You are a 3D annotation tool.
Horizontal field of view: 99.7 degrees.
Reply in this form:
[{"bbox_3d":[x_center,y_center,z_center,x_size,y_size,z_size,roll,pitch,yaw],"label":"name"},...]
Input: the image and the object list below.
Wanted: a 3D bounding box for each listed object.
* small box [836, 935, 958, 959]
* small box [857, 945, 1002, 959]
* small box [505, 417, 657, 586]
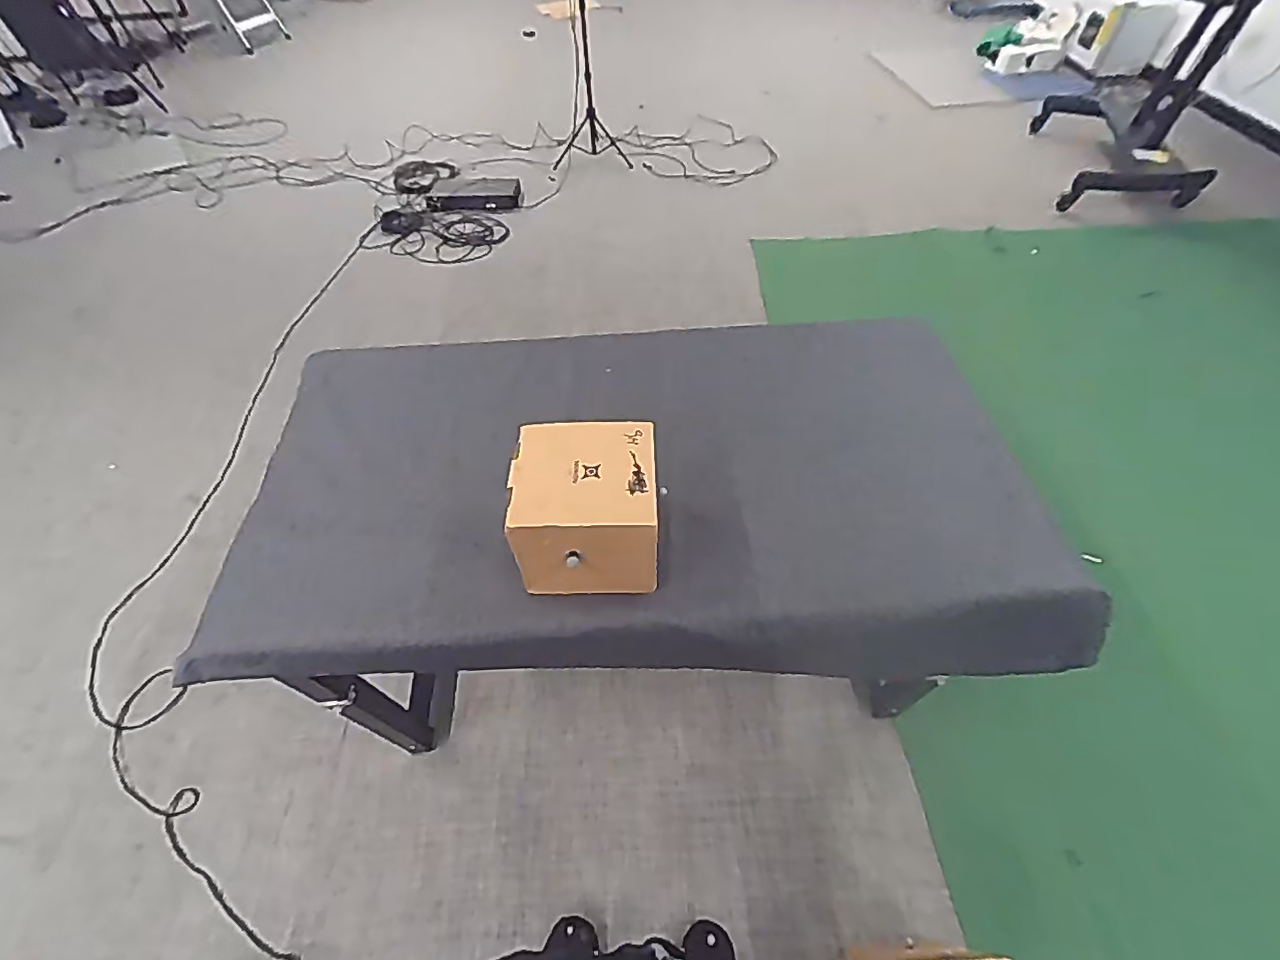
[{"bbox_3d":[0.474,0.927,0.963,0.179,0.176,0.168,-4,52,0],"label":"small box"},{"bbox_3d":[0.460,0.829,0.830,0.179,0.176,0.168,-2,52,1],"label":"small box"},{"bbox_3d":[-0.066,0.033,0.728,0.179,0.176,0.168,0,52,1],"label":"small box"}]
